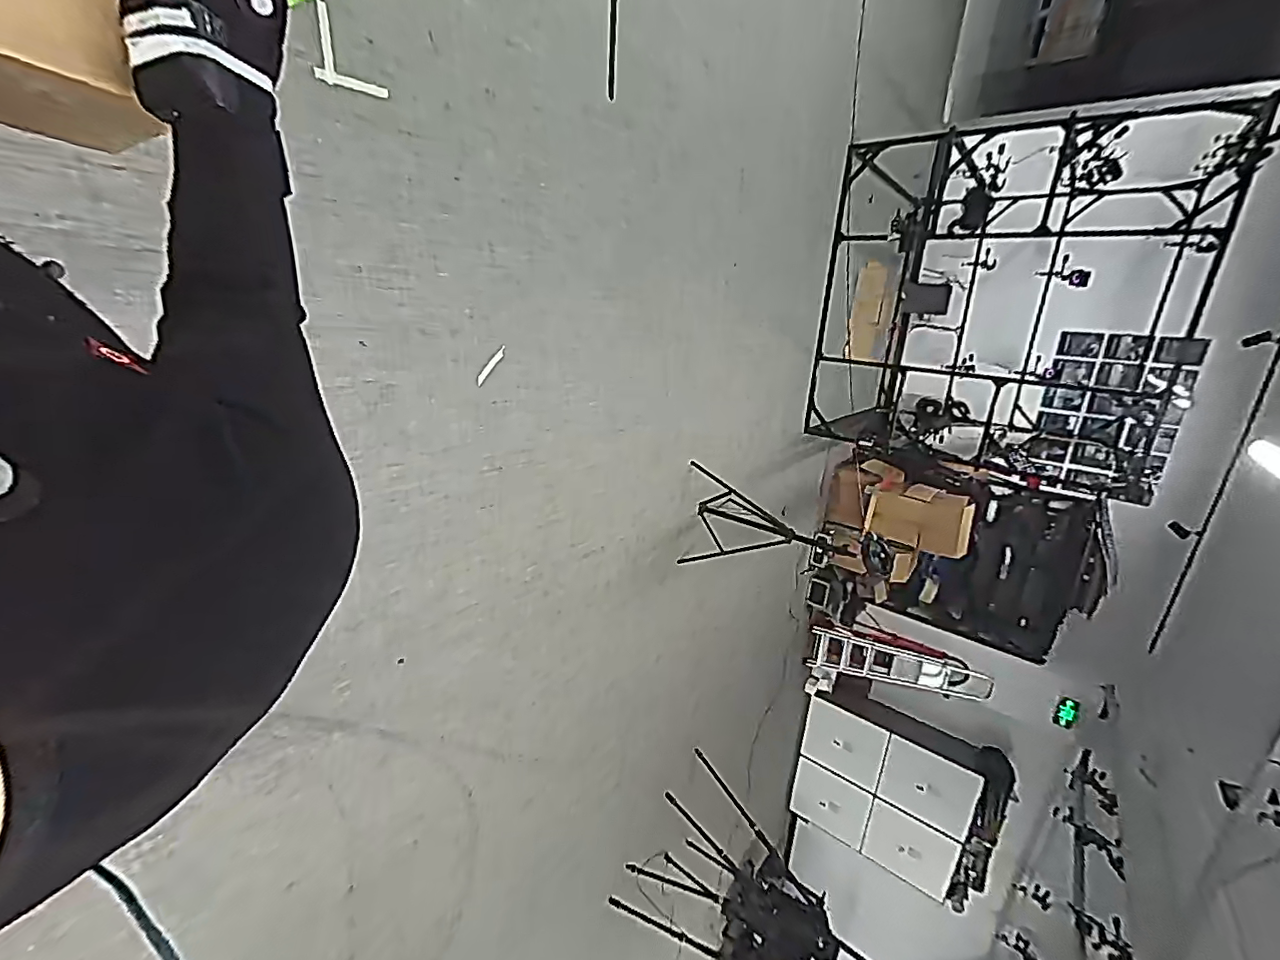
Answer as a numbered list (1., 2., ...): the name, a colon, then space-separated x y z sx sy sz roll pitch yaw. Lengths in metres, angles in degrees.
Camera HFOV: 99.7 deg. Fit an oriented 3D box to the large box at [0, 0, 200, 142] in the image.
1. large box: -0.554 -0.448 0.308 0.408 0.320 0.320 -9 113 -52
